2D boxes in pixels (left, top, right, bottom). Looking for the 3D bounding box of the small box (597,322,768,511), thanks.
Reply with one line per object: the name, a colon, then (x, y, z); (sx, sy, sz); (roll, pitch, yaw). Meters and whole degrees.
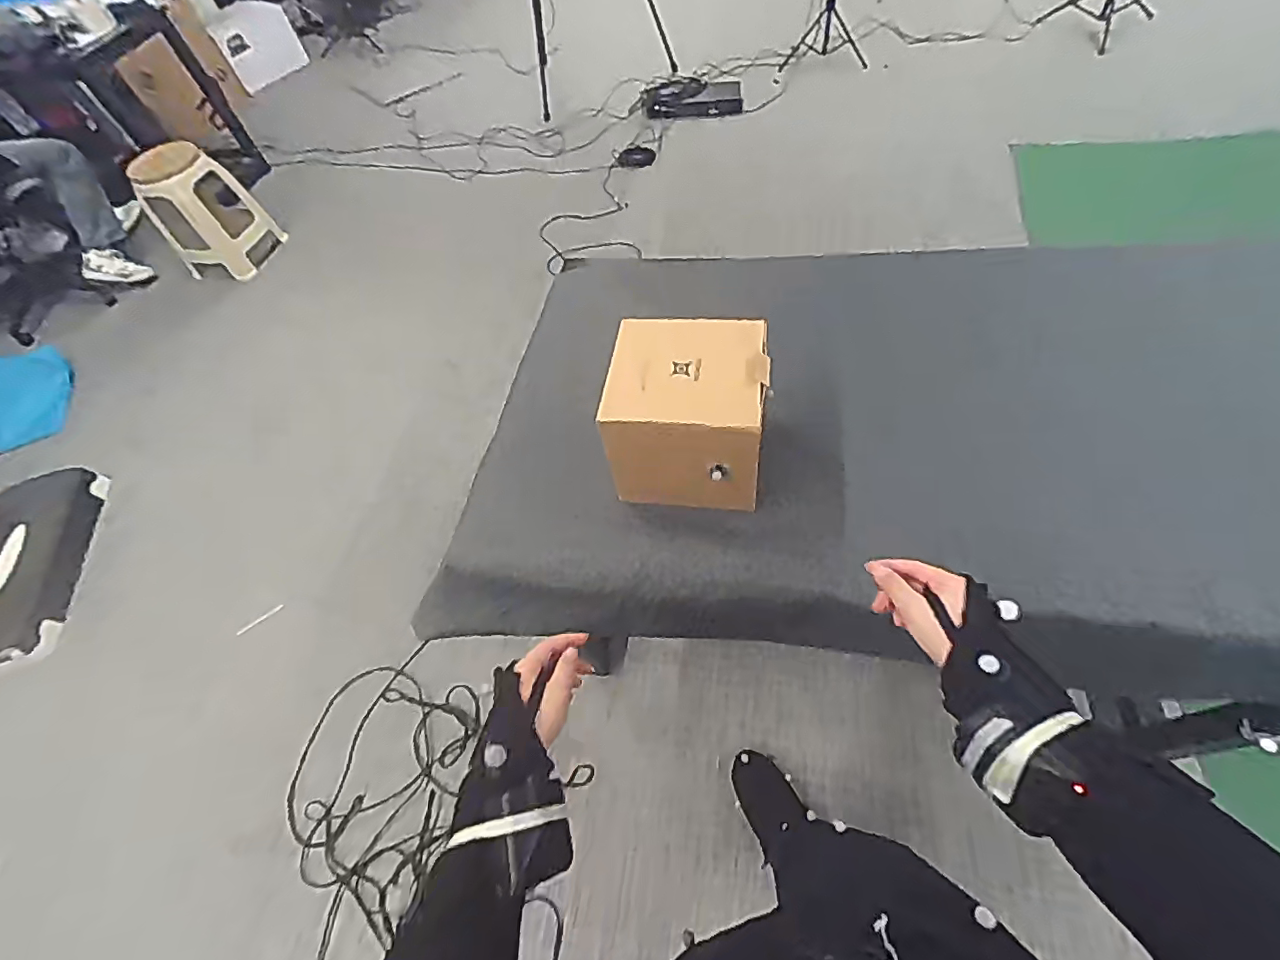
small box: (0.062, -0.074, 0.668); (0.179, 0.176, 0.168); (3, 56, 12)
